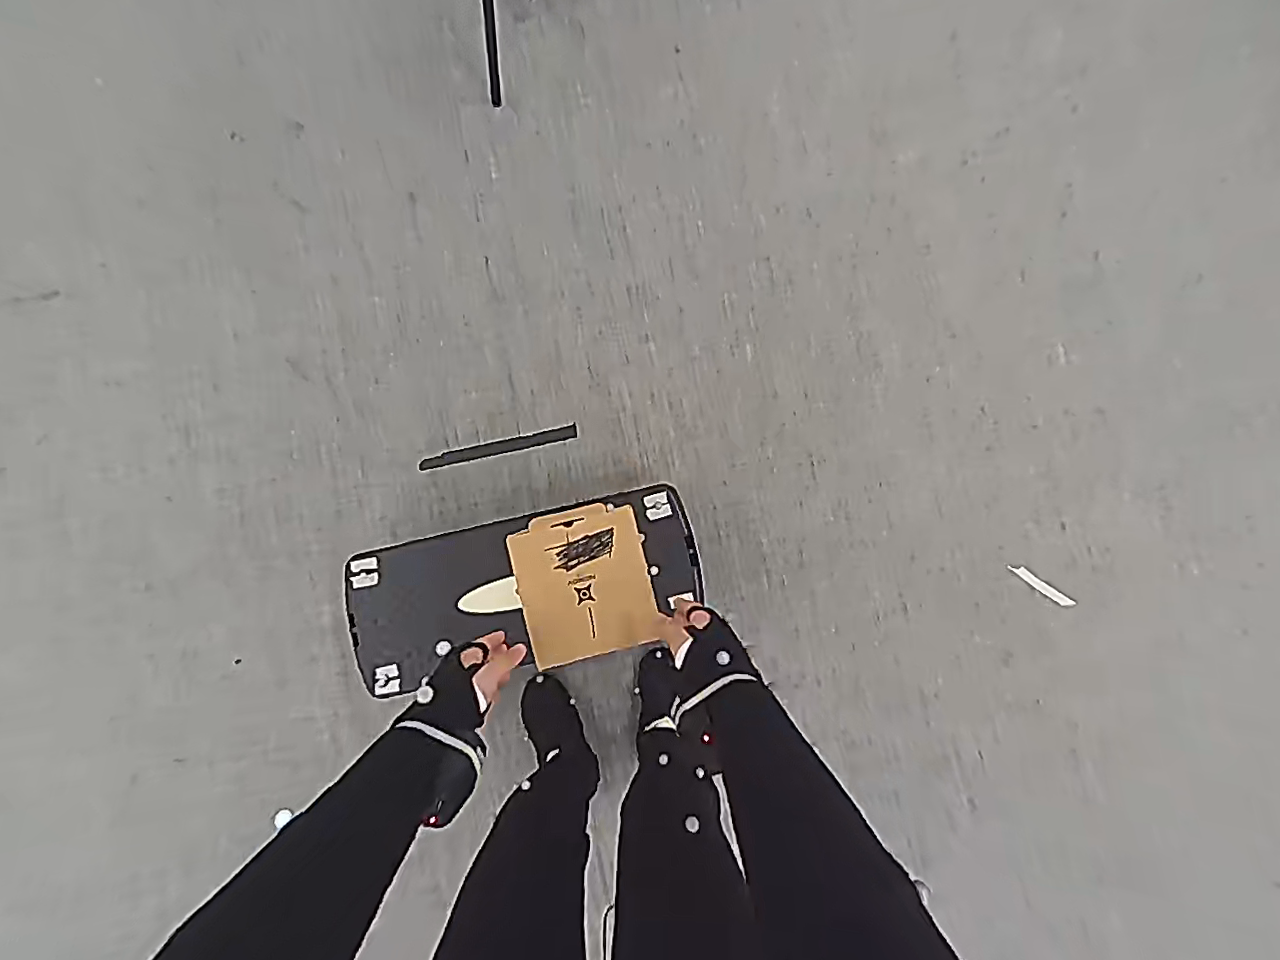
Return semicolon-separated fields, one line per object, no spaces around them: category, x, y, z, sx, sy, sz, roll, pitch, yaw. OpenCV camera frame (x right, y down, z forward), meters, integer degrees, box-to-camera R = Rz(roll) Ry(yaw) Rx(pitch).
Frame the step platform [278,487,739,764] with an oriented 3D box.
step platform;-0.198;0.222;0.897;0.684;0.204;0.286;-13;85;-2

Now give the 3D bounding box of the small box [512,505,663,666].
small box;-0.069;0.141;0.774;0.168;0.176;0.179;-14;87;-1
